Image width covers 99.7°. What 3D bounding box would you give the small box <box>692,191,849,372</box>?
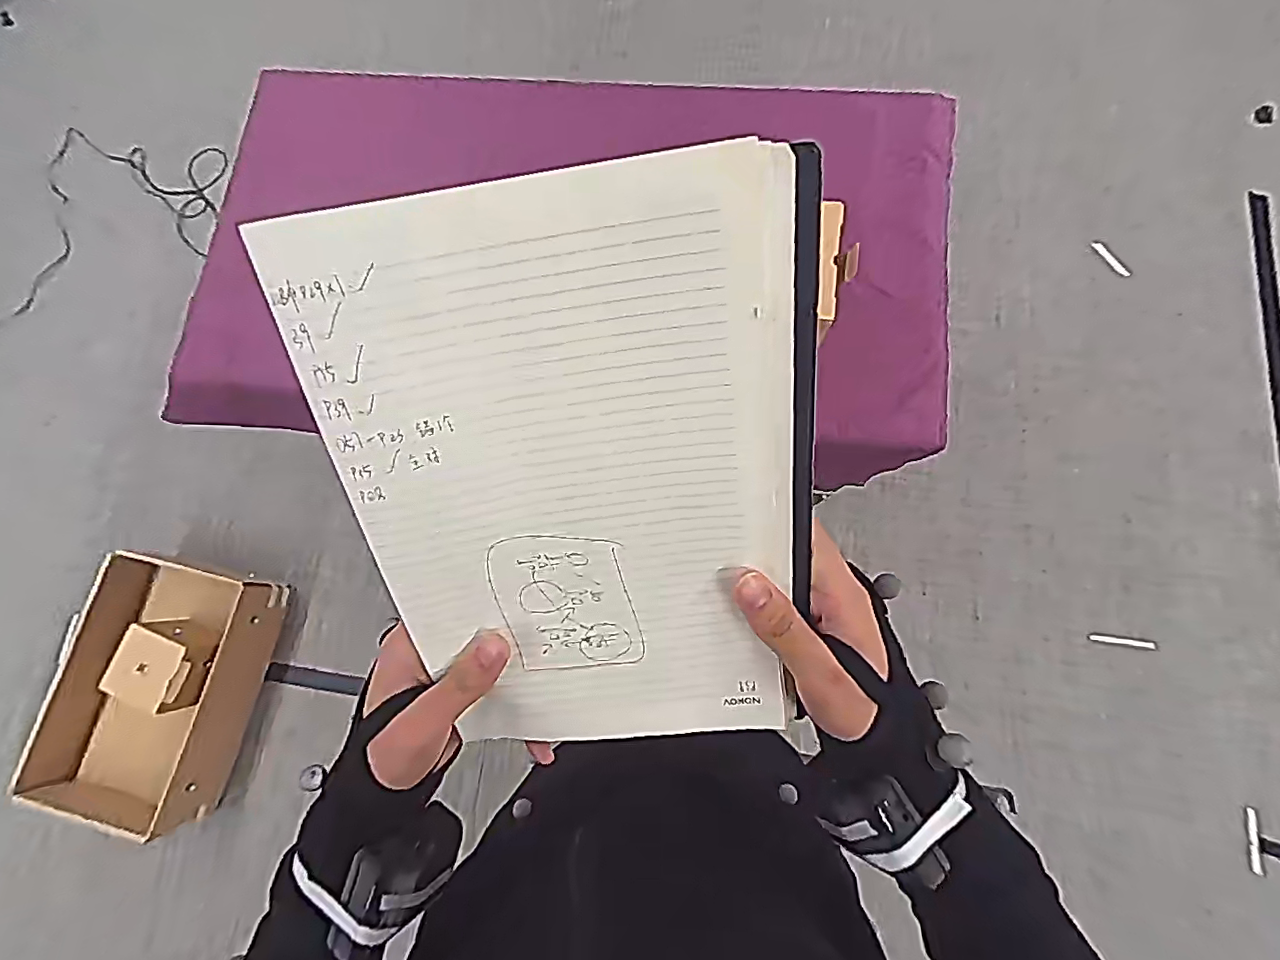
[{"bbox_3d":[0.168,-0.261,0.742,0.179,0.176,0.168,8,79,6],"label":"small box"}]

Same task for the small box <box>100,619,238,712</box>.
[{"bbox_3d":[-1.194,0.464,1.387,0.179,0.176,0.168,21,81,8],"label":"small box"}]
